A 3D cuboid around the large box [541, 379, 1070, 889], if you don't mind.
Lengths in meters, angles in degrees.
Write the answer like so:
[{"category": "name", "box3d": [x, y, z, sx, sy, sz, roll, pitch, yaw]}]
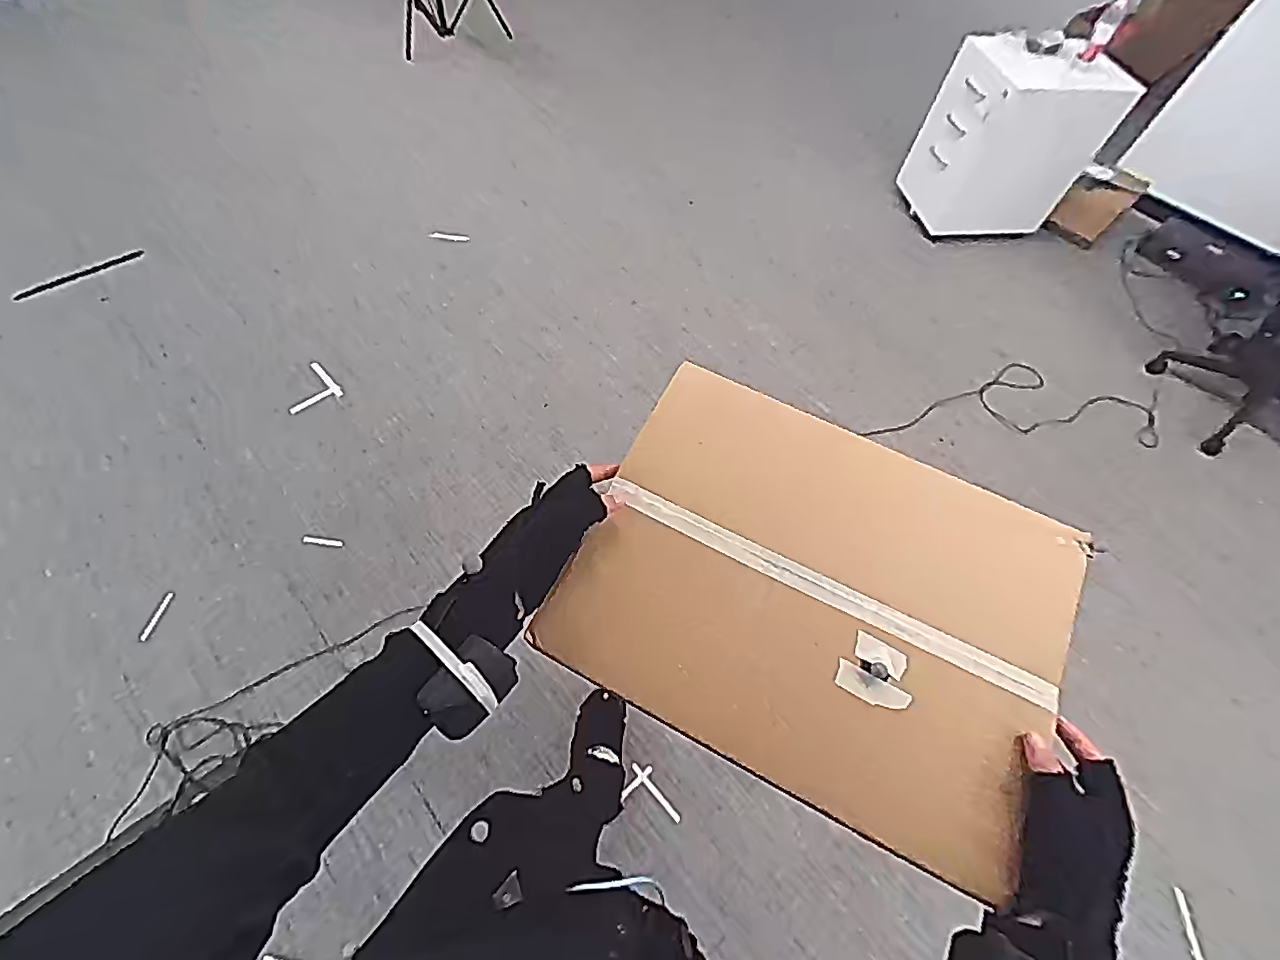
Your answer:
[{"category": "large box", "box3d": [0.154, 0.154, 0.621, 0.408, 0.320, 0.320, 26, 71, 10]}]
